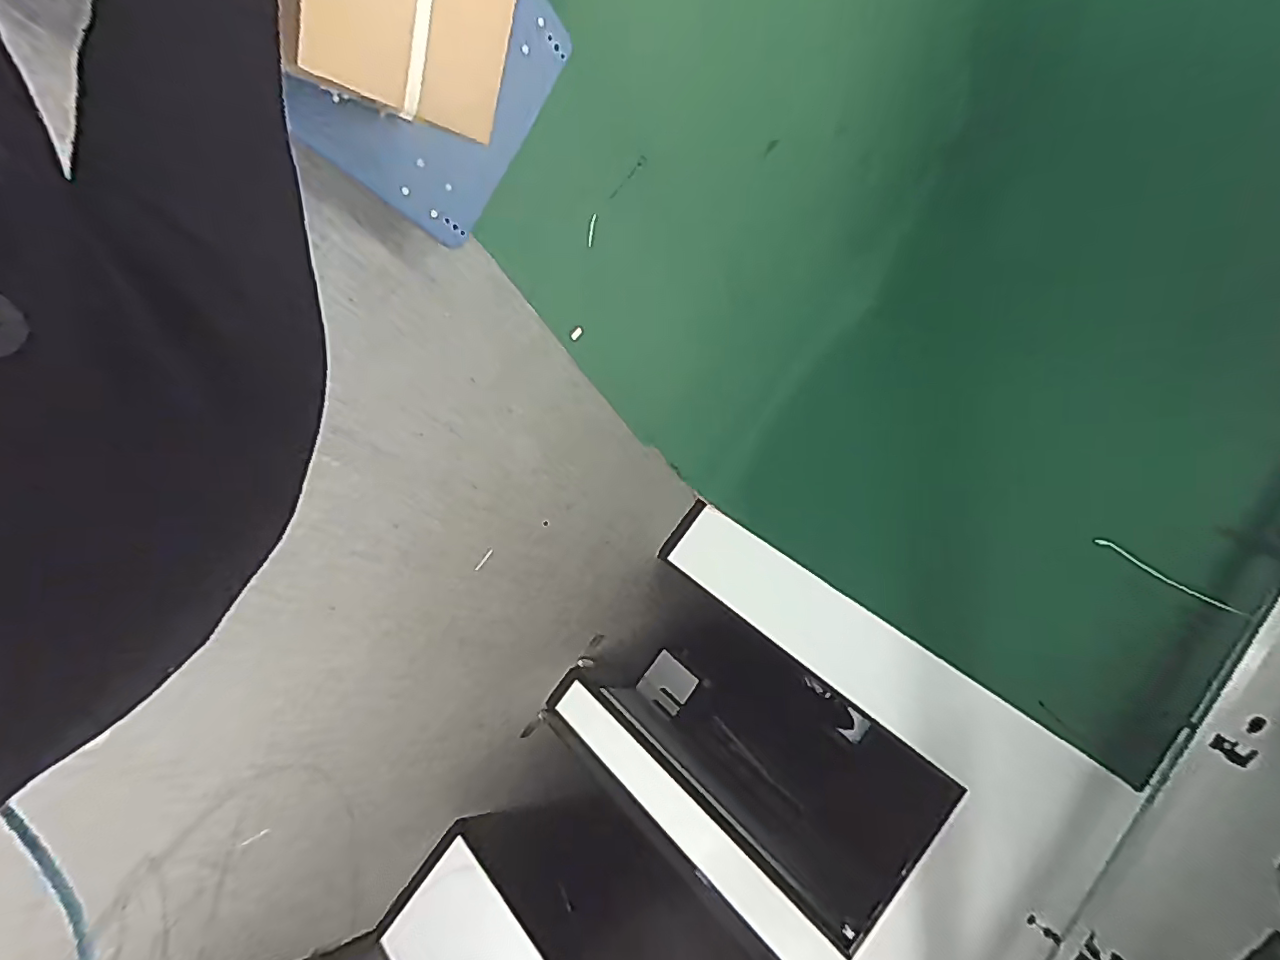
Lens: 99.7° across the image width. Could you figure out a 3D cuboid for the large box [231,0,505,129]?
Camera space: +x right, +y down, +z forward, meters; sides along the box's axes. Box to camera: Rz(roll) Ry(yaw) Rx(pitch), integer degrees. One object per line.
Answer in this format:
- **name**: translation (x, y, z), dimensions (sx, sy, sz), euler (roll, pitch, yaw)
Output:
- **large box**: translation (-0.423, -0.846, 0.853), dimensions (0.320, 0.320, 0.408), euler (-11, 127, -49)
